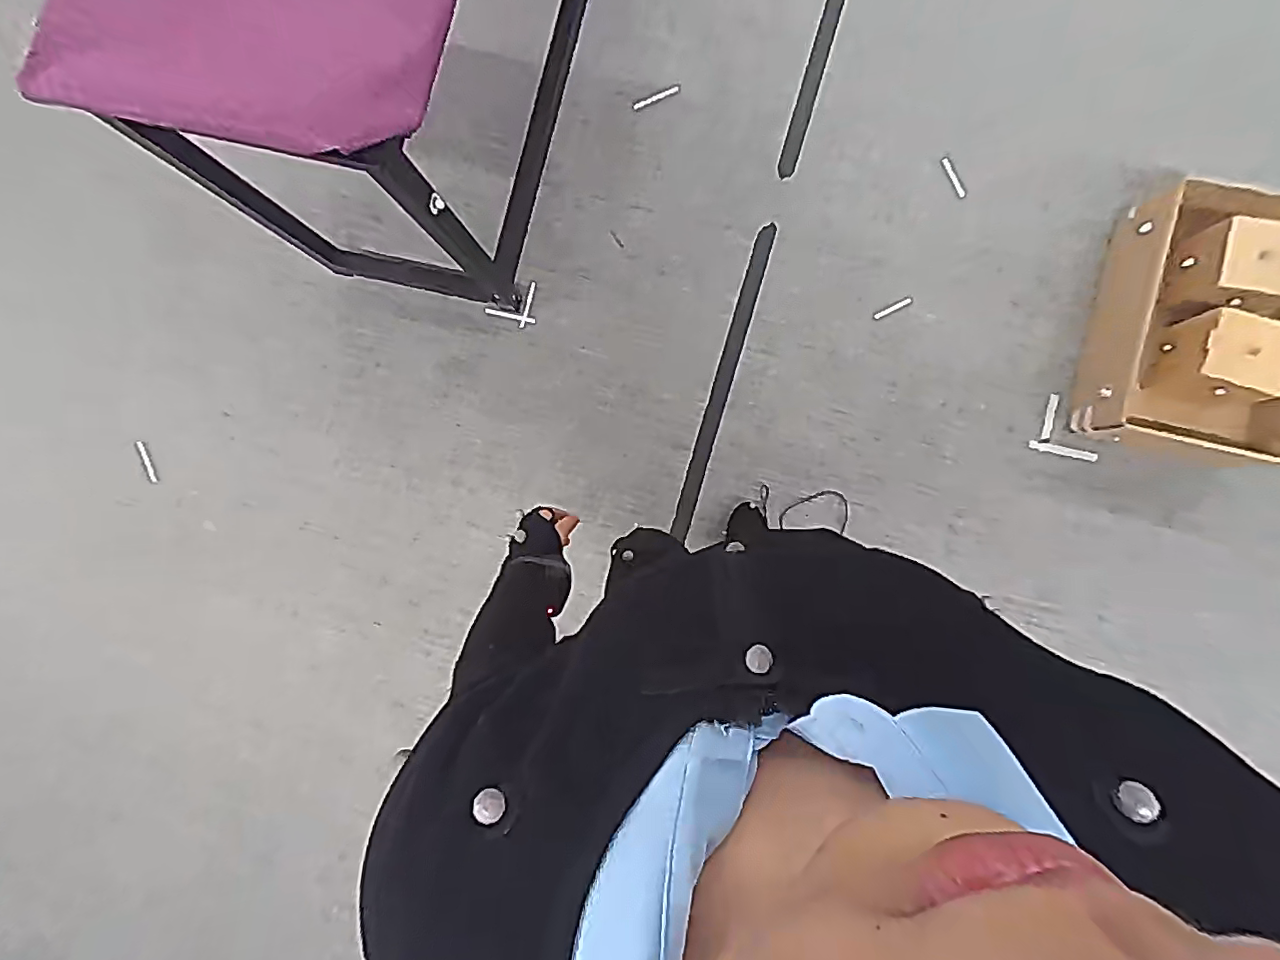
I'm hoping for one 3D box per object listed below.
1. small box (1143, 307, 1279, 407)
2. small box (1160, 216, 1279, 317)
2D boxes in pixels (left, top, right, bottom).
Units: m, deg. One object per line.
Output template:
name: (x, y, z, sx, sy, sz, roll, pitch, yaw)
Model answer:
small box: (1.381, -0.284, 1.292, 0.179, 0.176, 0.168, 20, 89, 6)
small box: (1.416, -0.499, 1.295, 0.179, 0.176, 0.168, 13, 91, 5)
